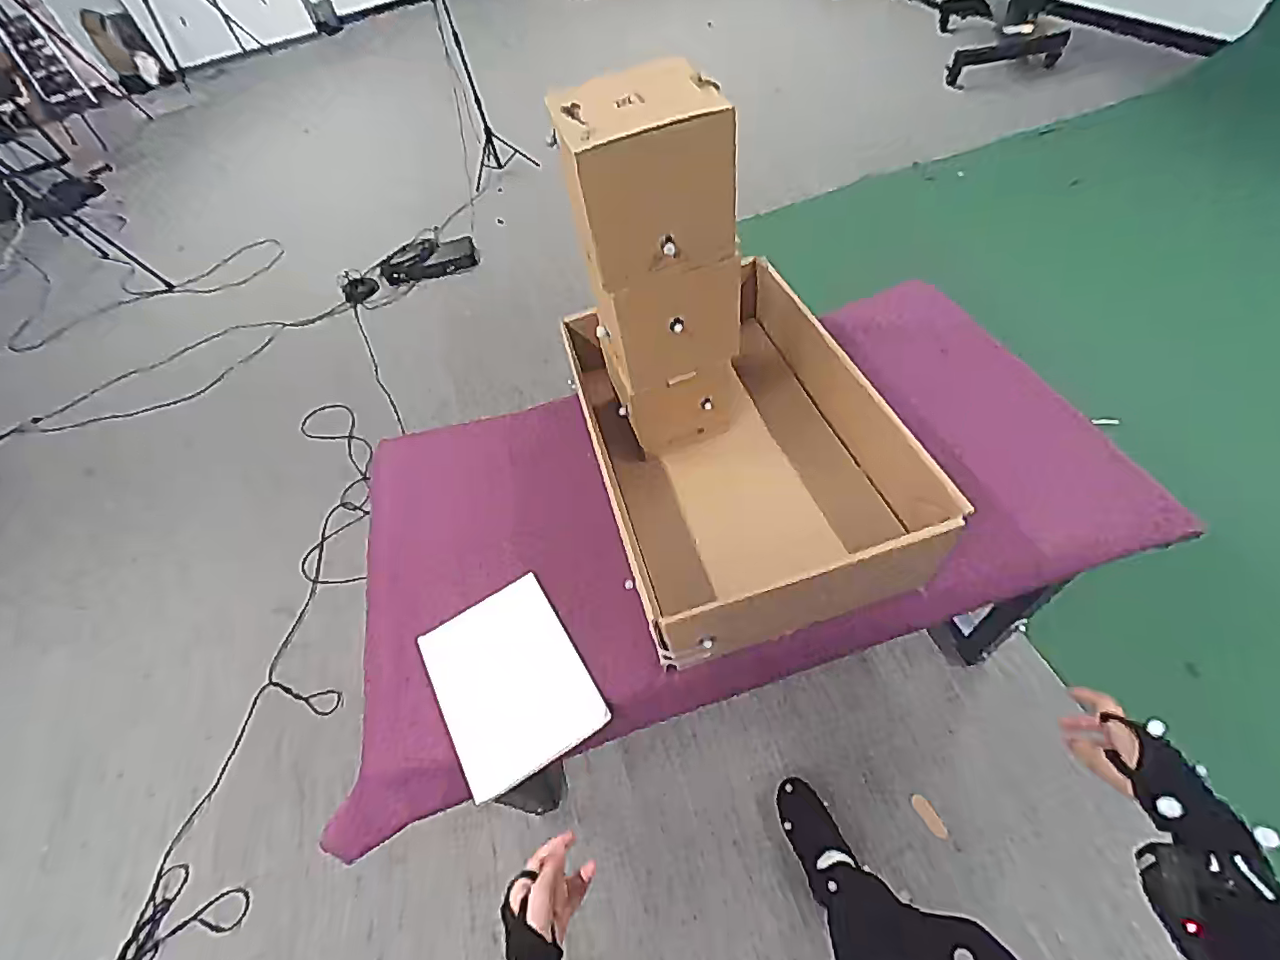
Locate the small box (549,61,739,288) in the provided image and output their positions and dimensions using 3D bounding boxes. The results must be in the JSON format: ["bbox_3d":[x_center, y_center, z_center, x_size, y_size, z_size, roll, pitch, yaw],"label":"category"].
[{"bbox_3d":[0.006,-0.362,0.651,0.179,0.176,0.168,-18,53,-4],"label":"small box"}]

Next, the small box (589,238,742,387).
[{"bbox_3d":[0.033,-0.265,0.780,0.179,0.176,0.168,-20,53,-4],"label":"small box"}]
